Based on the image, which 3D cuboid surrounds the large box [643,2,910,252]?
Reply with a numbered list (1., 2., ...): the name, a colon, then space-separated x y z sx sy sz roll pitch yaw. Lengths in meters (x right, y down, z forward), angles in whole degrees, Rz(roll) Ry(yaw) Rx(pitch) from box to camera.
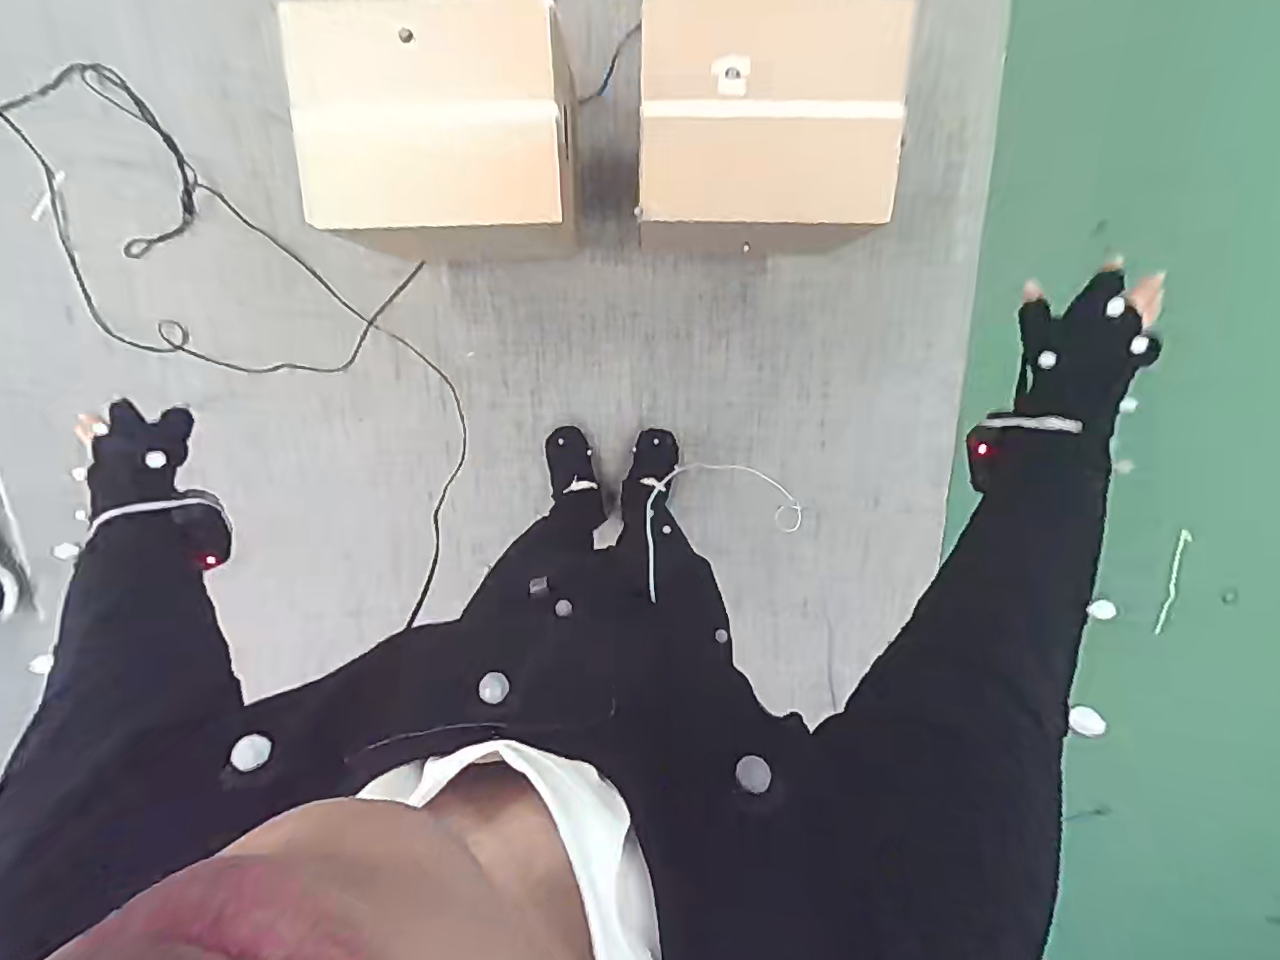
1. large box: 0.210 -0.605 0.992 0.408 0.320 0.320 1 103 0
